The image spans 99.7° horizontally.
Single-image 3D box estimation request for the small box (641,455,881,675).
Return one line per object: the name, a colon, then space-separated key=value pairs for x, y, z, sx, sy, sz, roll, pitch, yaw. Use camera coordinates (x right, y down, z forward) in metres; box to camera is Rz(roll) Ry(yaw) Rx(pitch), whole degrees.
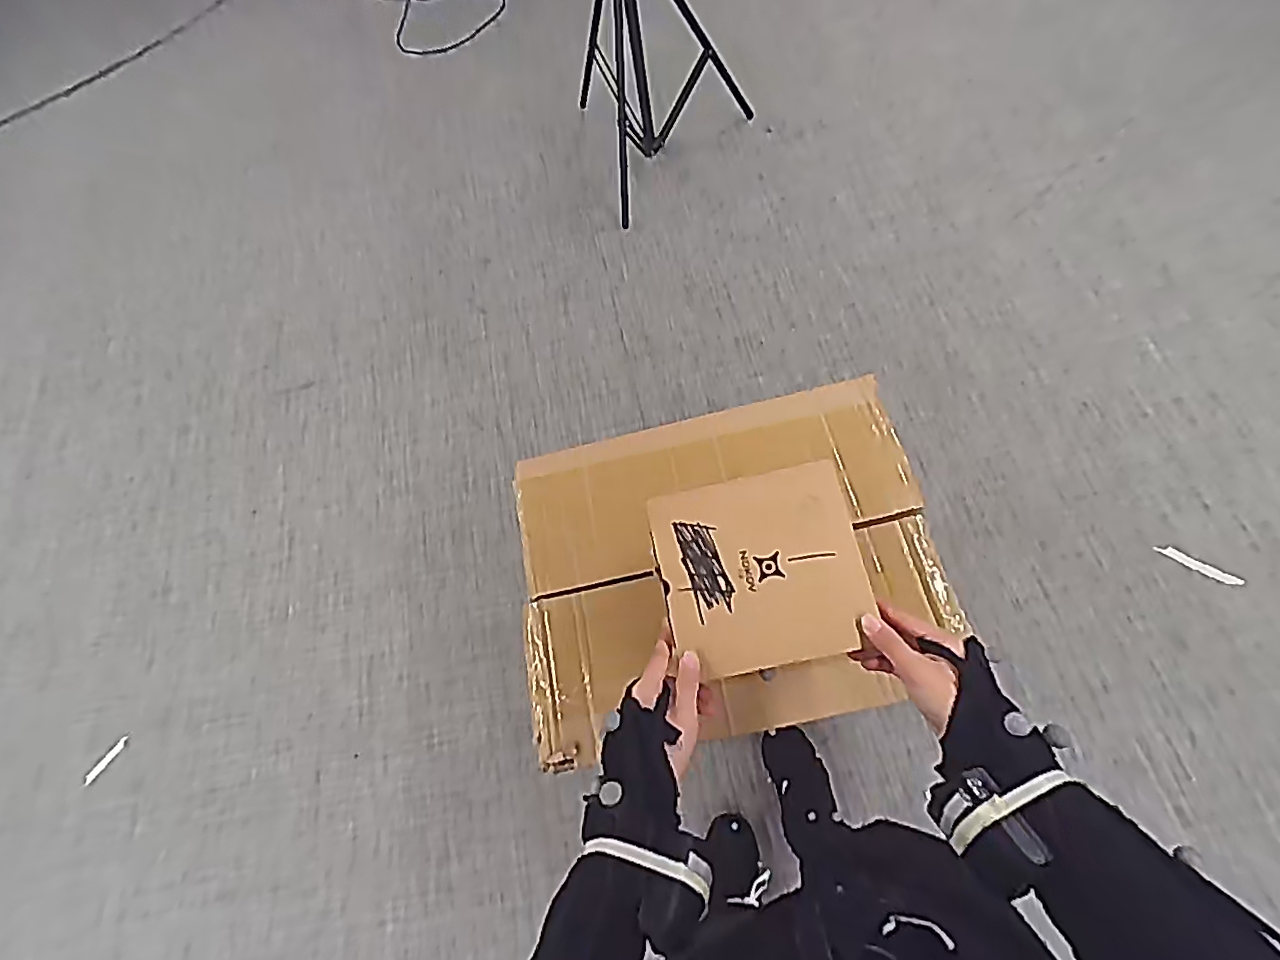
small box: x=0.110 y=0.092 z=0.546 sx=0.179 sy=0.176 sz=0.168 roll=-13 pitch=75 yaw=3
